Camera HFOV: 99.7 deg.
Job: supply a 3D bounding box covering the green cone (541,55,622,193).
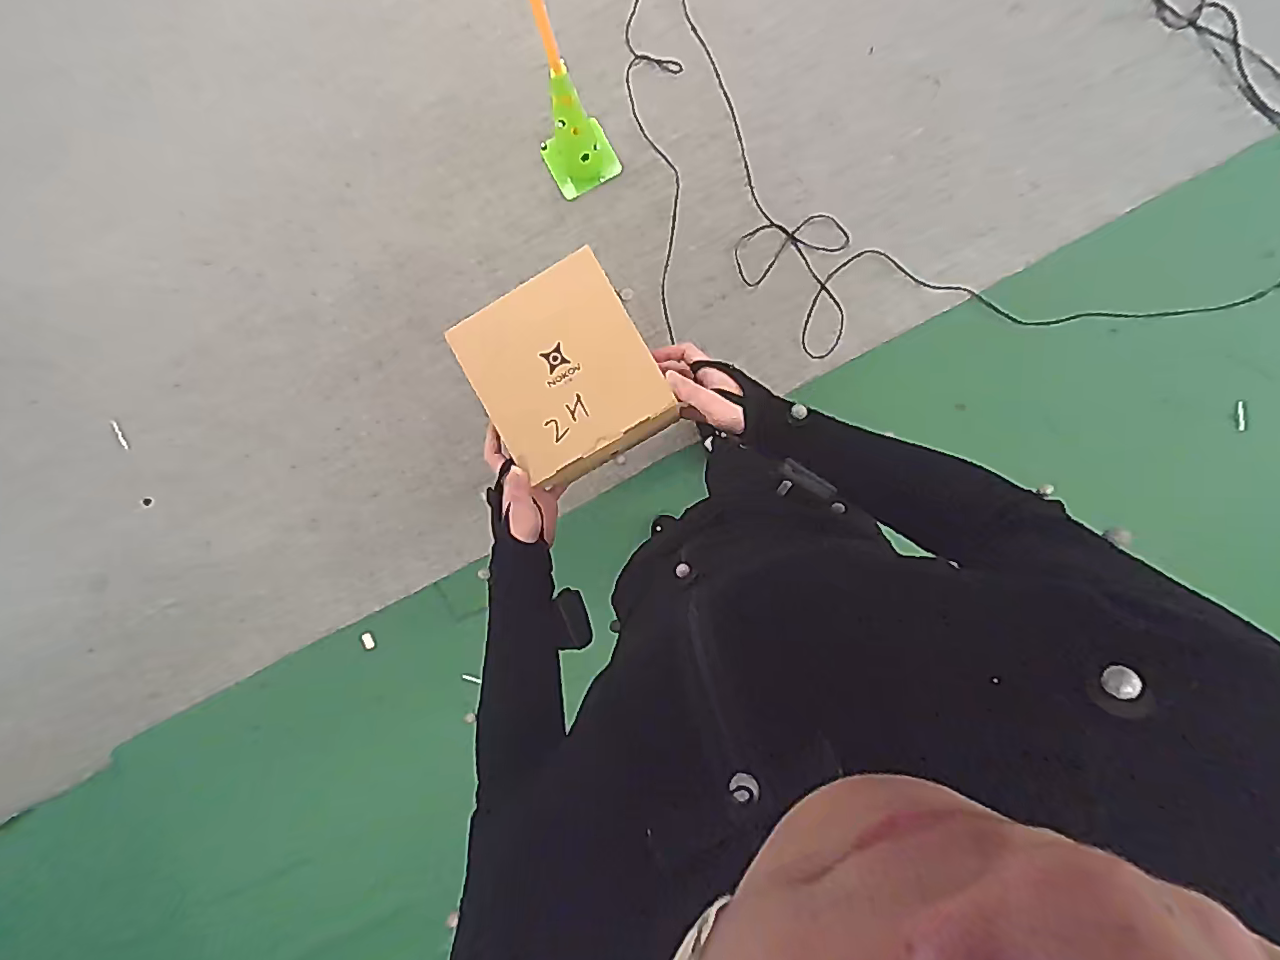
[{"bbox_3d":[-0.185,-1.008,1.491,0.202,0.368,0.200,-28,89,1],"label":"green cone"}]
